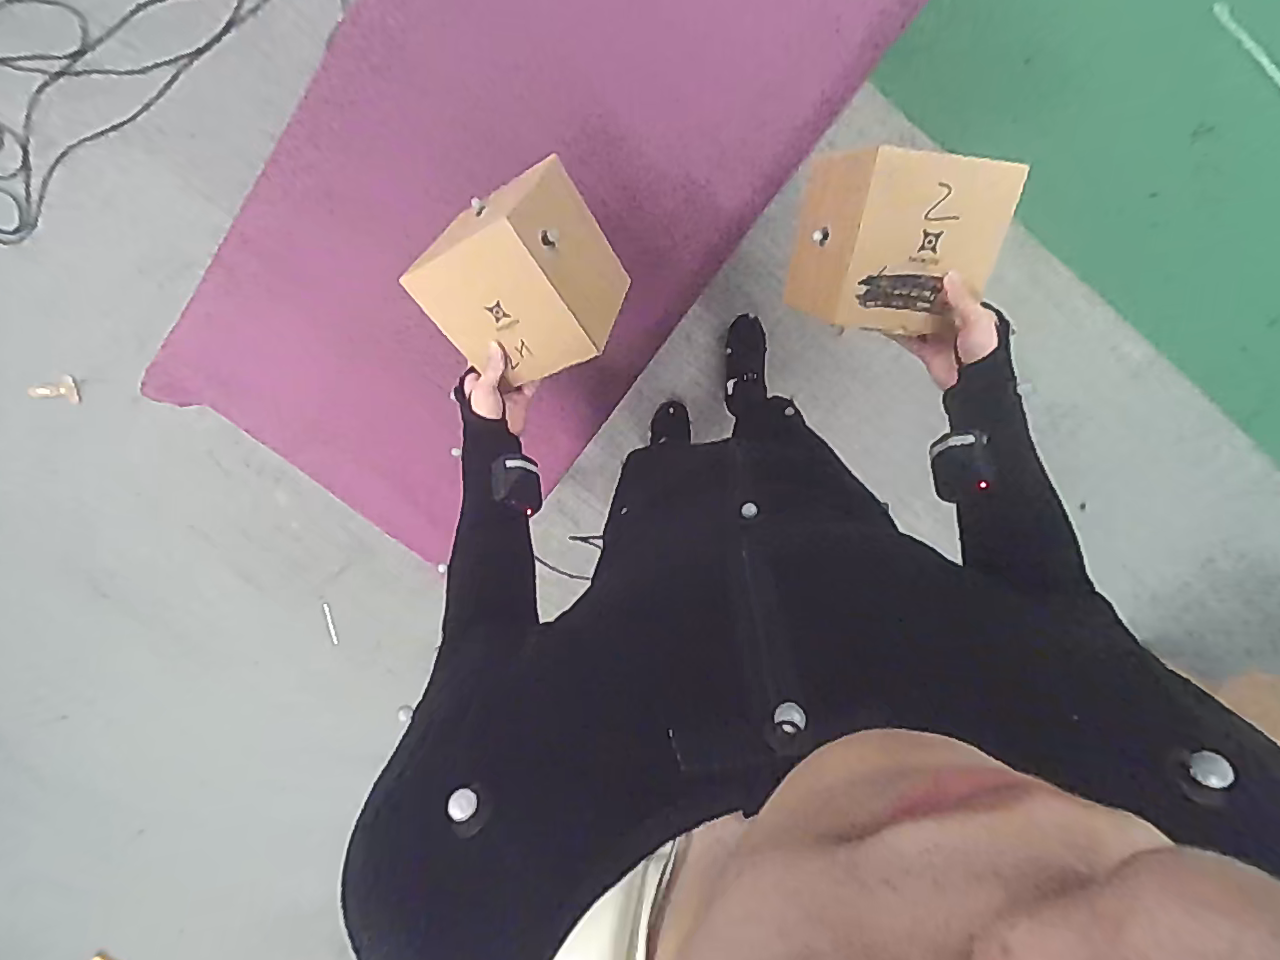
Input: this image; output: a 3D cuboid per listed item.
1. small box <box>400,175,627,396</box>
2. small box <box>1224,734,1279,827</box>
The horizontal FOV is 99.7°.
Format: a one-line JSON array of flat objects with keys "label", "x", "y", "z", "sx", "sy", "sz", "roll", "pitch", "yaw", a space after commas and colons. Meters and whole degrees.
[{"label": "small box", "x": -0.137, "y": -0.235, "z": 0.649, "sx": 0.168, "sy": 0.176, "sz": 0.179, "roll": -12, "pitch": 132, "yaw": 29}, {"label": "small box", "x": 1.631, "y": 0.771, "z": 1.330, "sx": 0.179, "sy": 0.176, "sz": 0.168, "roll": -43, "pitch": 98, "yaw": 9}]
